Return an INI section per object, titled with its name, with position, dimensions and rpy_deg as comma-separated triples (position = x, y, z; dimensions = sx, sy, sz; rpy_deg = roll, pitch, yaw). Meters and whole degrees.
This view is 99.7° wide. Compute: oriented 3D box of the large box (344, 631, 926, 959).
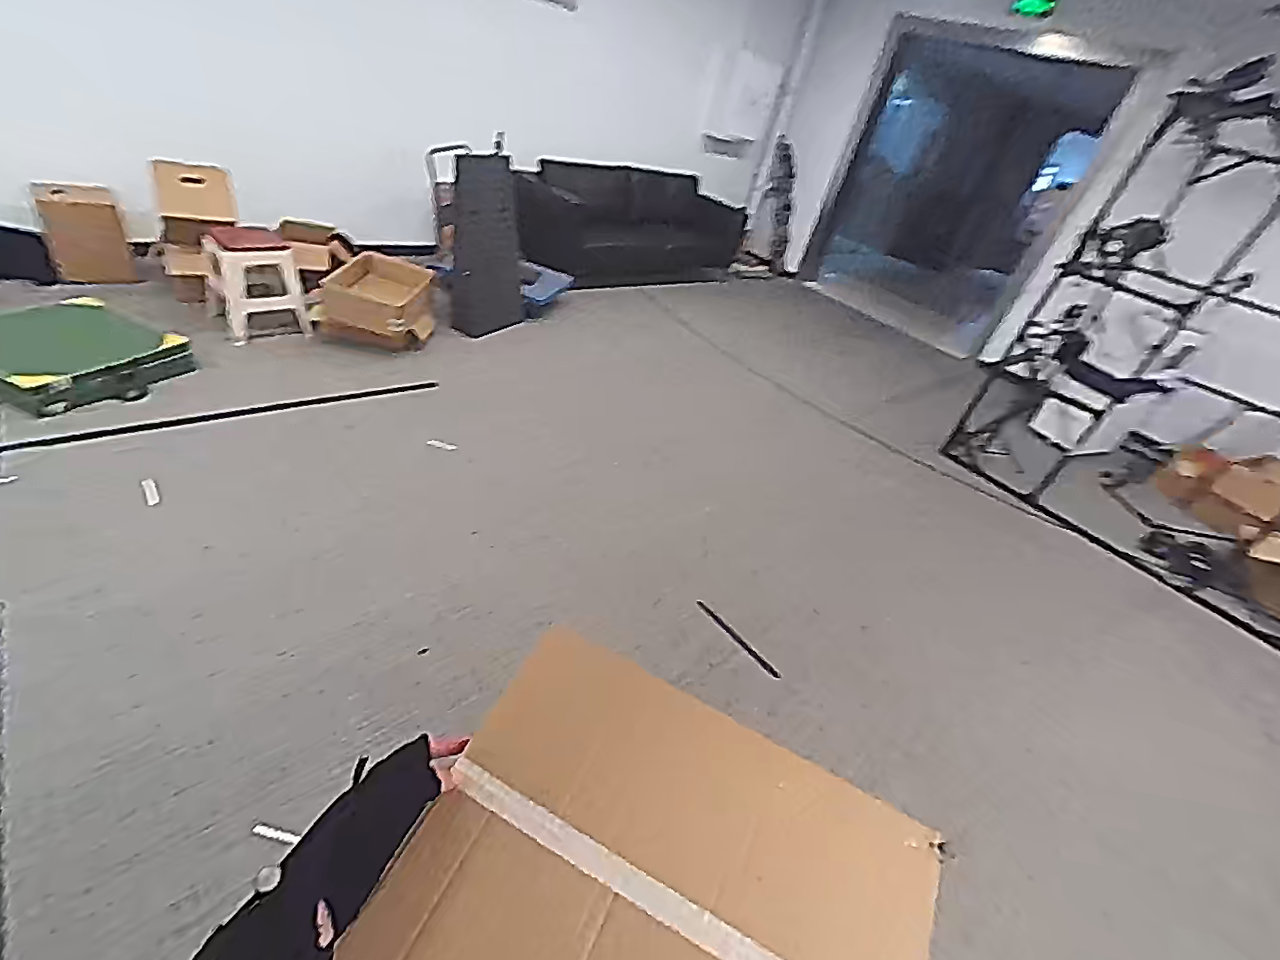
[large box]
position = 0.001, 0.430, 0.556
dimensions = 0.408, 0.320, 0.320
rpy_deg = 26, 52, 12
